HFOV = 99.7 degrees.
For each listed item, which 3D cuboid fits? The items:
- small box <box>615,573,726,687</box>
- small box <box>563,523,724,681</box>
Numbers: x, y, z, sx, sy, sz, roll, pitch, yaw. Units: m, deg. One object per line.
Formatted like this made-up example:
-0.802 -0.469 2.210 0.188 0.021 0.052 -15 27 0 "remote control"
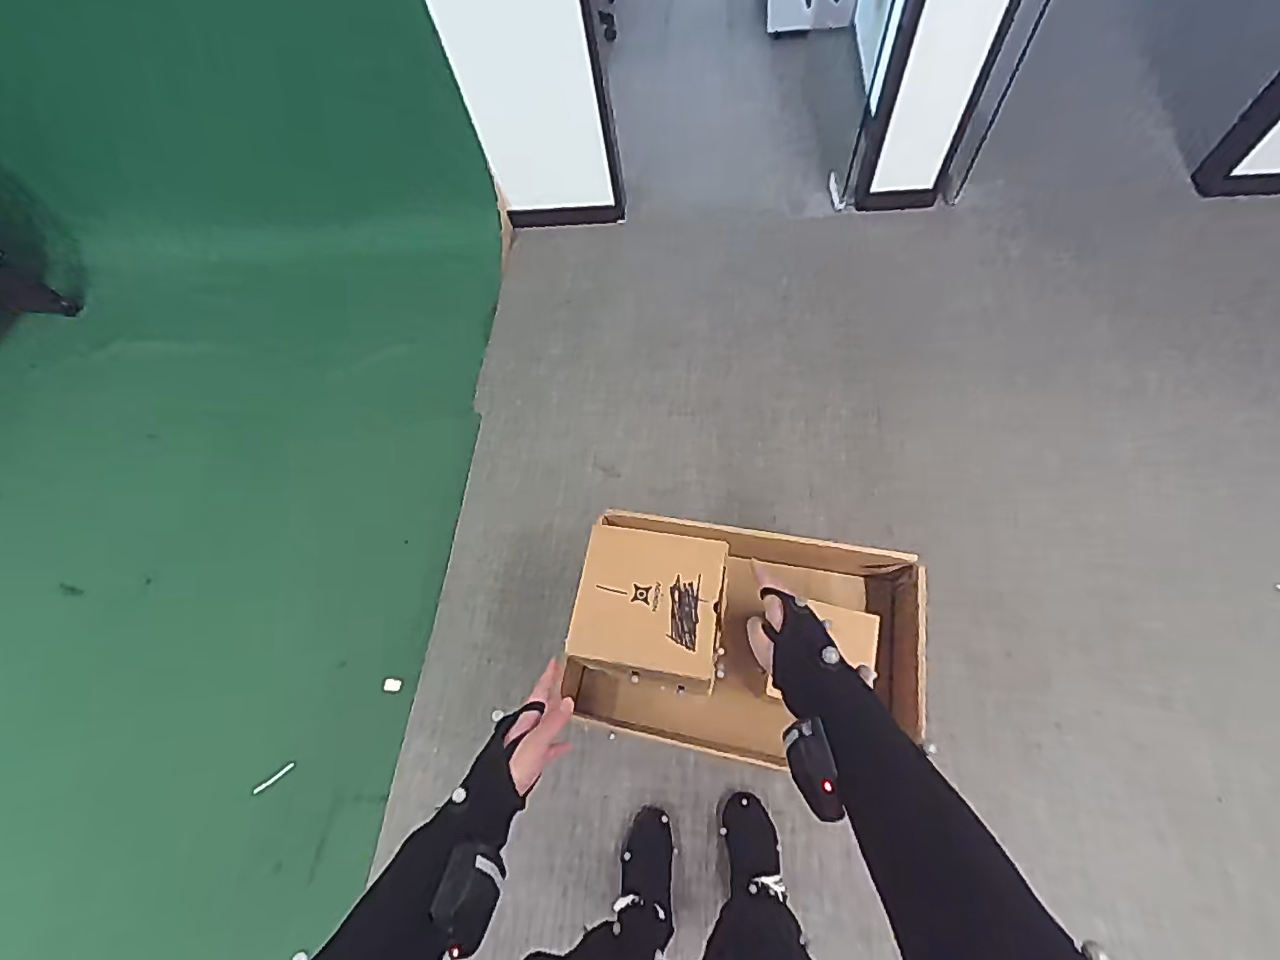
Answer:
0.040 0.234 0.881 0.179 0.176 0.168 9 68 11 "small box"
0.016 0.171 0.730 0.179 0.176 0.168 6 67 11 "small box"
